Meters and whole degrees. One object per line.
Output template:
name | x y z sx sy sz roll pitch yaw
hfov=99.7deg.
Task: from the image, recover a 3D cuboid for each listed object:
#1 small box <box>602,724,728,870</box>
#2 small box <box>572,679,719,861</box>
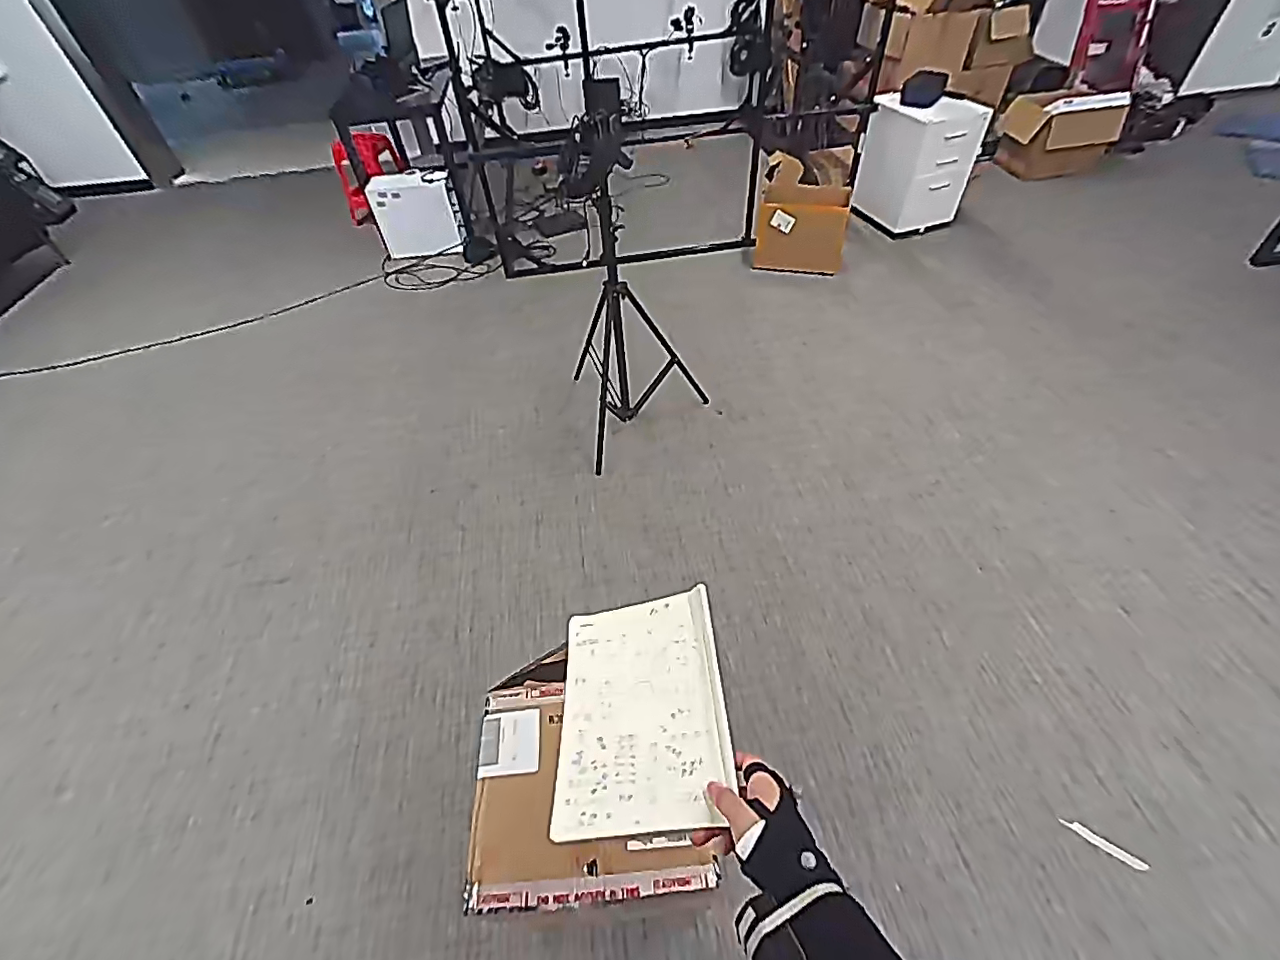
small box | 0.026 0.483 0.830 0.179 0.176 0.168 -6 48 -3
small box | 0.004 0.377 0.704 0.168 0.176 0.179 -2 49 -1
